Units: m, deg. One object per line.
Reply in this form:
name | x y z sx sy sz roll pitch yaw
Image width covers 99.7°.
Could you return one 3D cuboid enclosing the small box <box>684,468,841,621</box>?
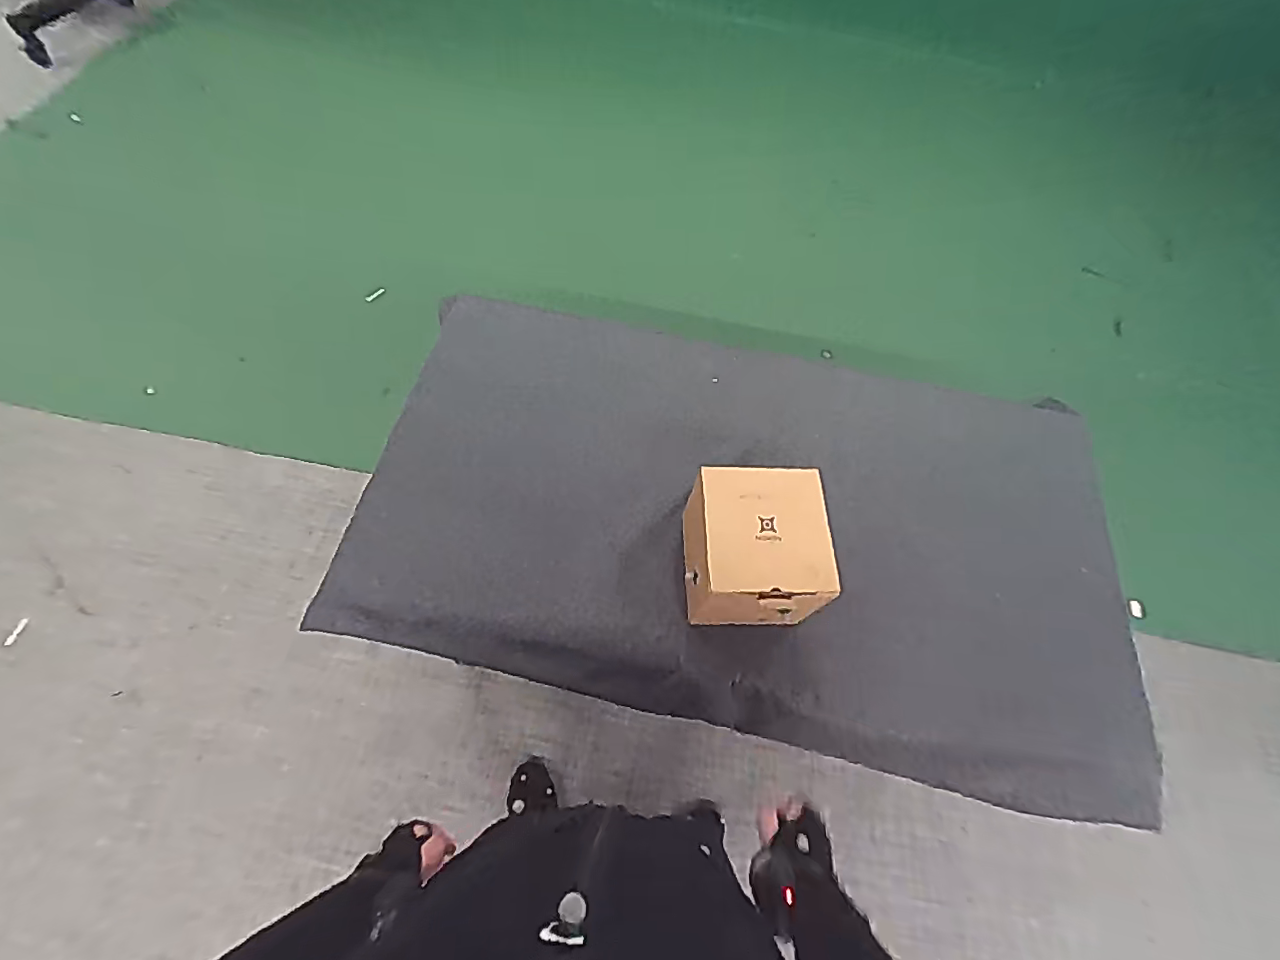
small box | 0.160 0.099 0.770 0.168 0.176 0.179 1 62 -6
